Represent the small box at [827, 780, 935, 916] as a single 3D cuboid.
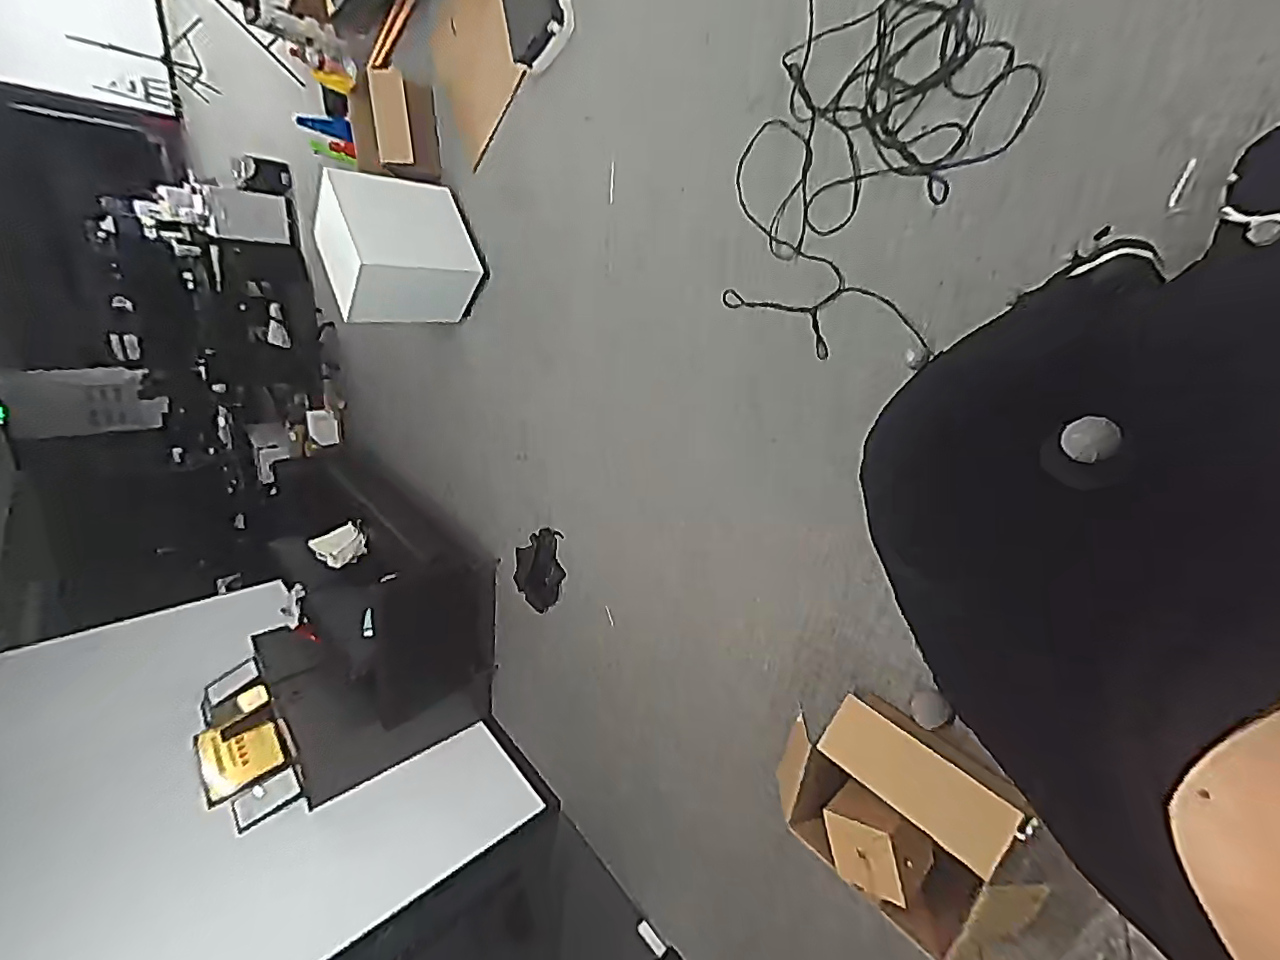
[{"bbox_3d":[0.575,0.859,1.283,0.168,0.176,0.179,-11,93,49],"label":"small box"}]
